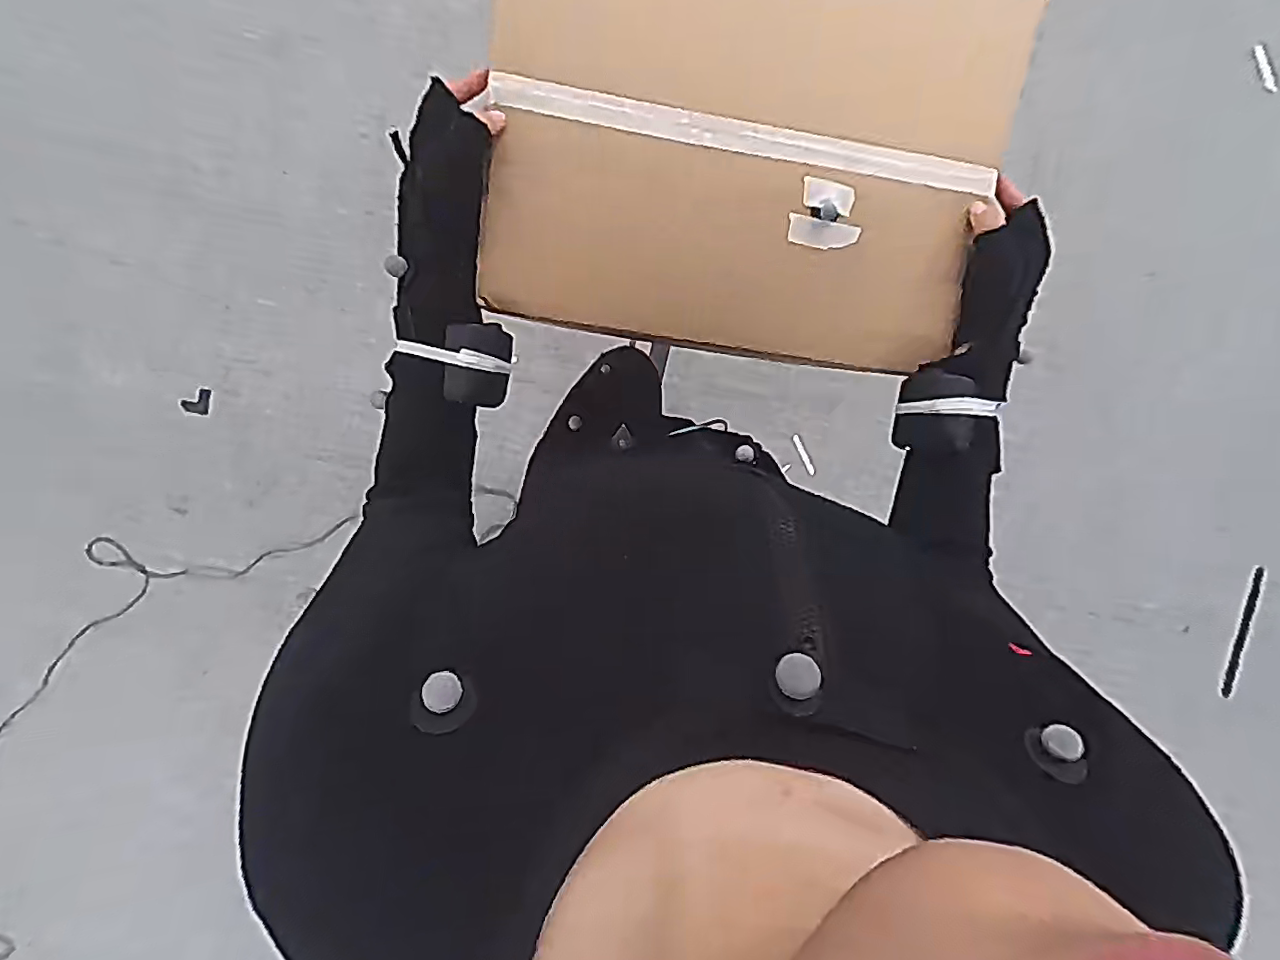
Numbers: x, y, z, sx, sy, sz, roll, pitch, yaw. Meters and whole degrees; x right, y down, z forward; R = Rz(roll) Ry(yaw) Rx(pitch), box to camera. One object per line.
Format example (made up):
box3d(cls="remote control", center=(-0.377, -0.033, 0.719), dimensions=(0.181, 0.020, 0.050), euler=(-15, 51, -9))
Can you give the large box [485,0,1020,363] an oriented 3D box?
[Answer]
box3d(cls="large box", center=(0.072, -0.309, 0.575), dimensions=(0.408, 0.320, 0.320), euler=(7, 105, -7))
